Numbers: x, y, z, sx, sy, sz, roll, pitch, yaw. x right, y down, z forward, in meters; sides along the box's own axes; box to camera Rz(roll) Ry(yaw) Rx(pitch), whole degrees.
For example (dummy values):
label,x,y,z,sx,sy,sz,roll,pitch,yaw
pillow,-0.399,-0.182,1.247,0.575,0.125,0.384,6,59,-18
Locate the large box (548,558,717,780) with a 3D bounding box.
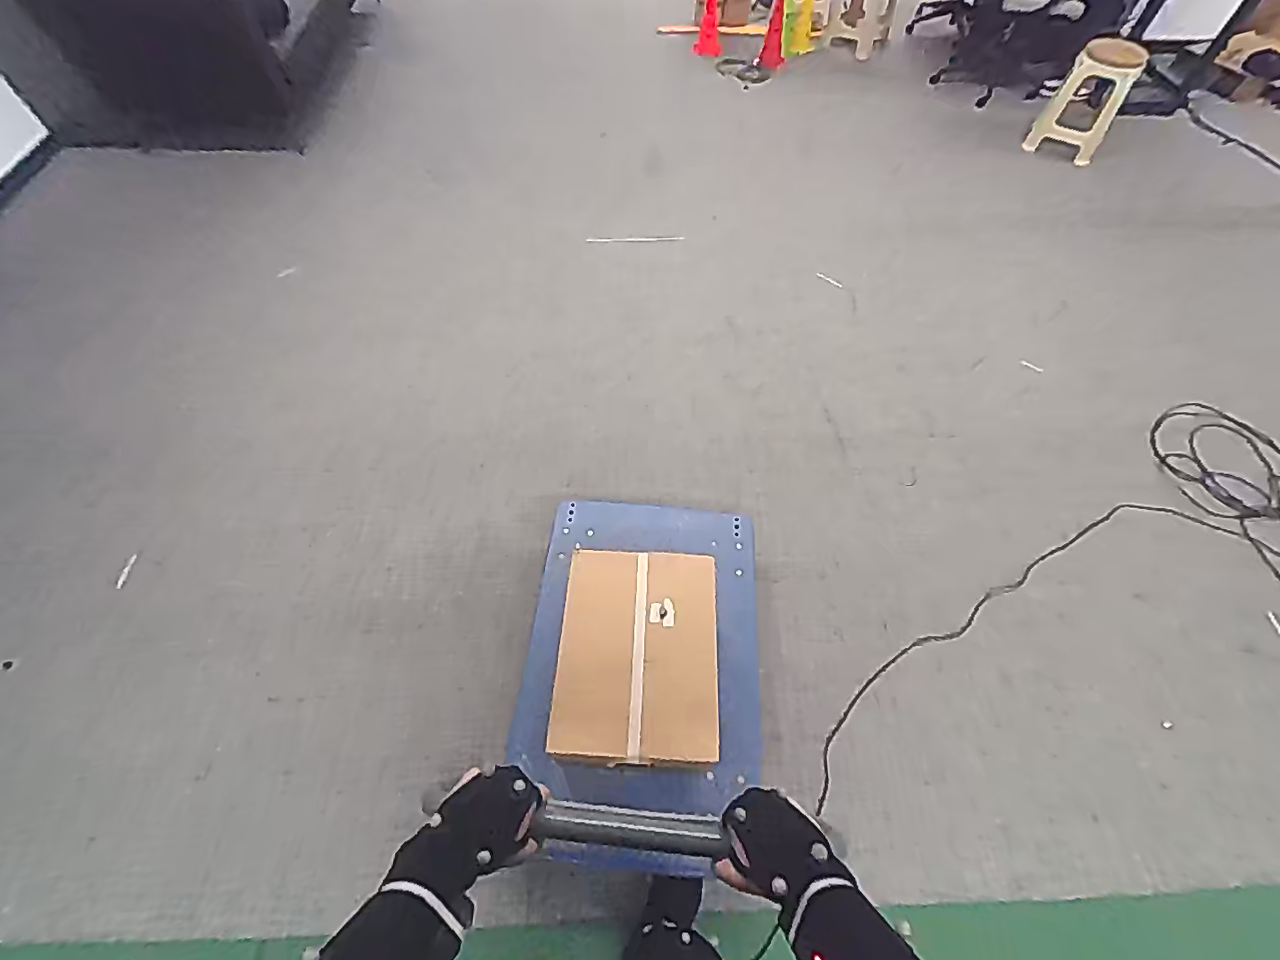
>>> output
label,x,y,z,sx,sy,sz,roll,pitch,yaw
large box,-0.008,0.426,1.204,0.320,0.320,0.408,3,56,1
